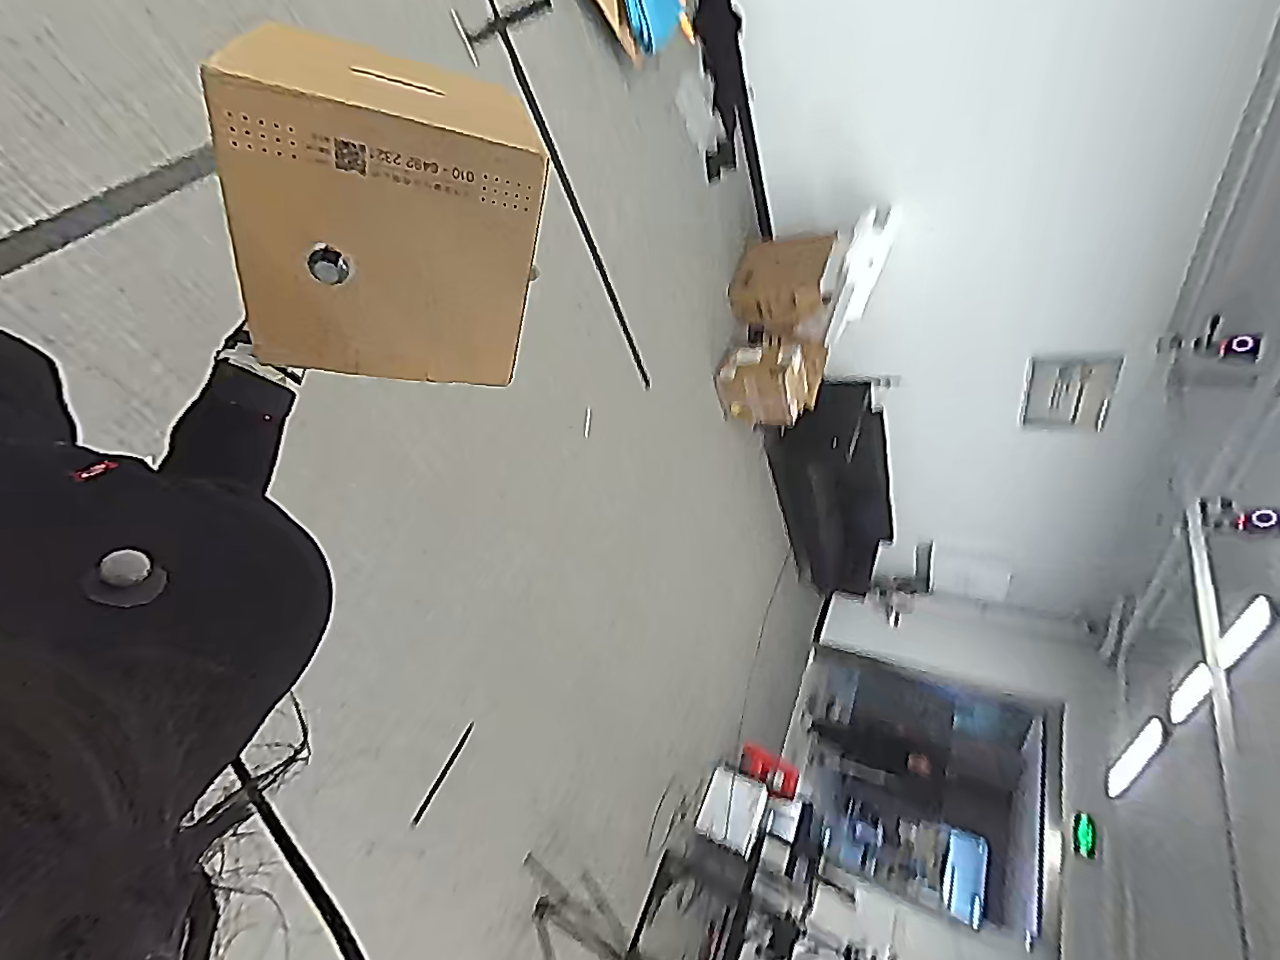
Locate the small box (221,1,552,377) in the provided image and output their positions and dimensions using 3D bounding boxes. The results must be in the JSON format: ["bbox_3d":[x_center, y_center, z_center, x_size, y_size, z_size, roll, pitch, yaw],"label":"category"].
[{"bbox_3d":[-0.166,-0.197,0.379,0.168,0.179,0.176,2,135,-25],"label":"small box"}]
